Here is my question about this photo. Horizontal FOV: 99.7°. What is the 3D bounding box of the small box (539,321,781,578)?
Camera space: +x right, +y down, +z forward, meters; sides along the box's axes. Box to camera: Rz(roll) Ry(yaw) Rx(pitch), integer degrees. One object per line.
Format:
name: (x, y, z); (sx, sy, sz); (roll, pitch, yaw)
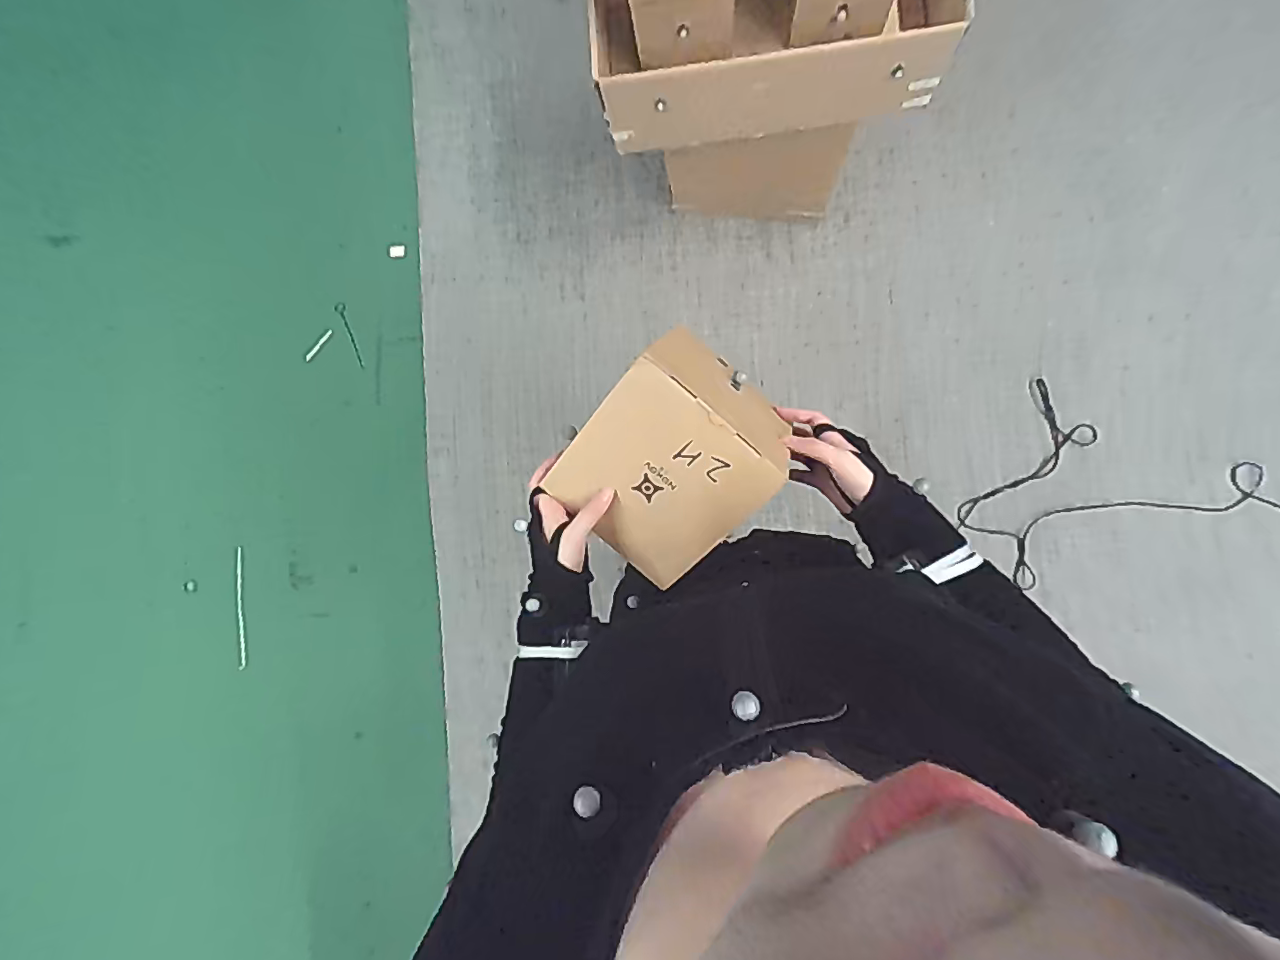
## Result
small box: (0.033, -0.039, 0.565); (0.168, 0.176, 0.179); (41, 118, -5)
